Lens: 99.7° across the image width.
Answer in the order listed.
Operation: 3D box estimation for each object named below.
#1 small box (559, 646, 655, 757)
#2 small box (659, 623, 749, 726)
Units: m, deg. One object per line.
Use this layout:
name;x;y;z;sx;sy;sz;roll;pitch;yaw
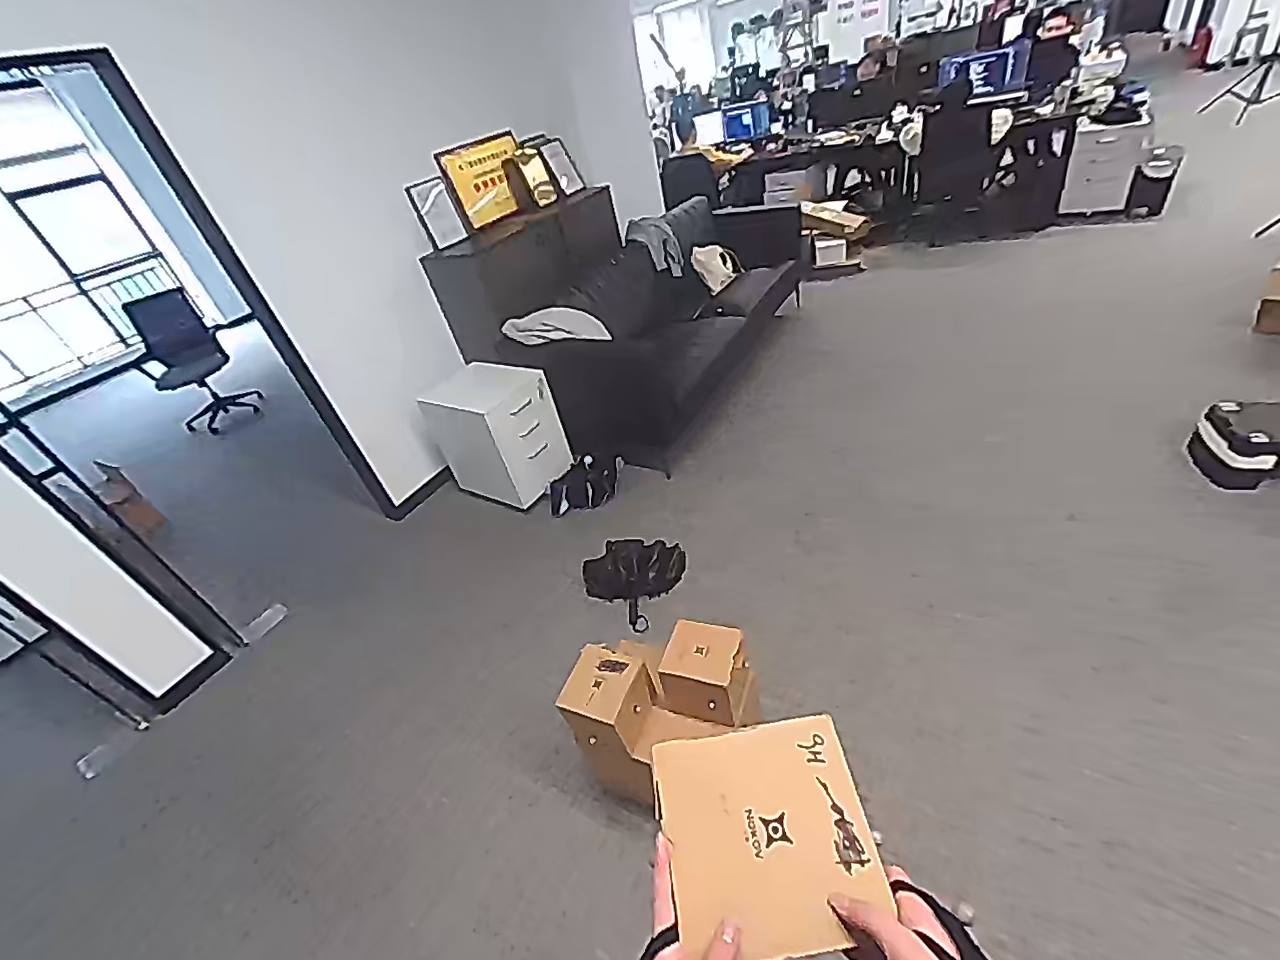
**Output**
small box;-0.073;0.556;1.360;0.168;0.176;0.179;6;44;27
small box;0.169;0.489;1.360;0.179;0.176;0.168;2;36;25
